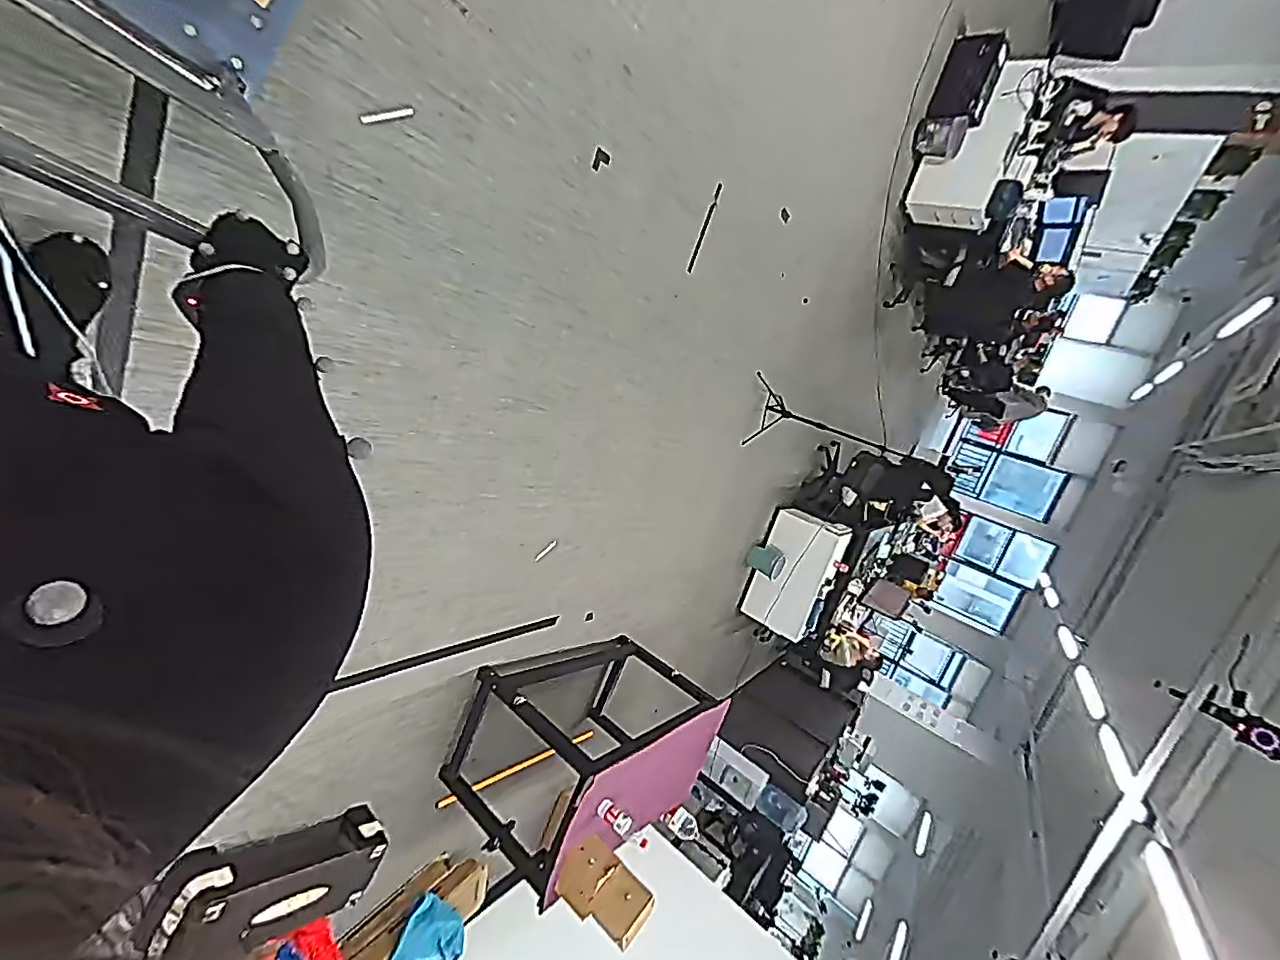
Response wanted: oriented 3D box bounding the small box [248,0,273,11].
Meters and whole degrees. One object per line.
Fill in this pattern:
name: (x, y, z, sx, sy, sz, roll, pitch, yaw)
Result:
small box: (-0.619, -0.853, 0.792, 0.168, 0.176, 0.179, -49, 151, 9)
